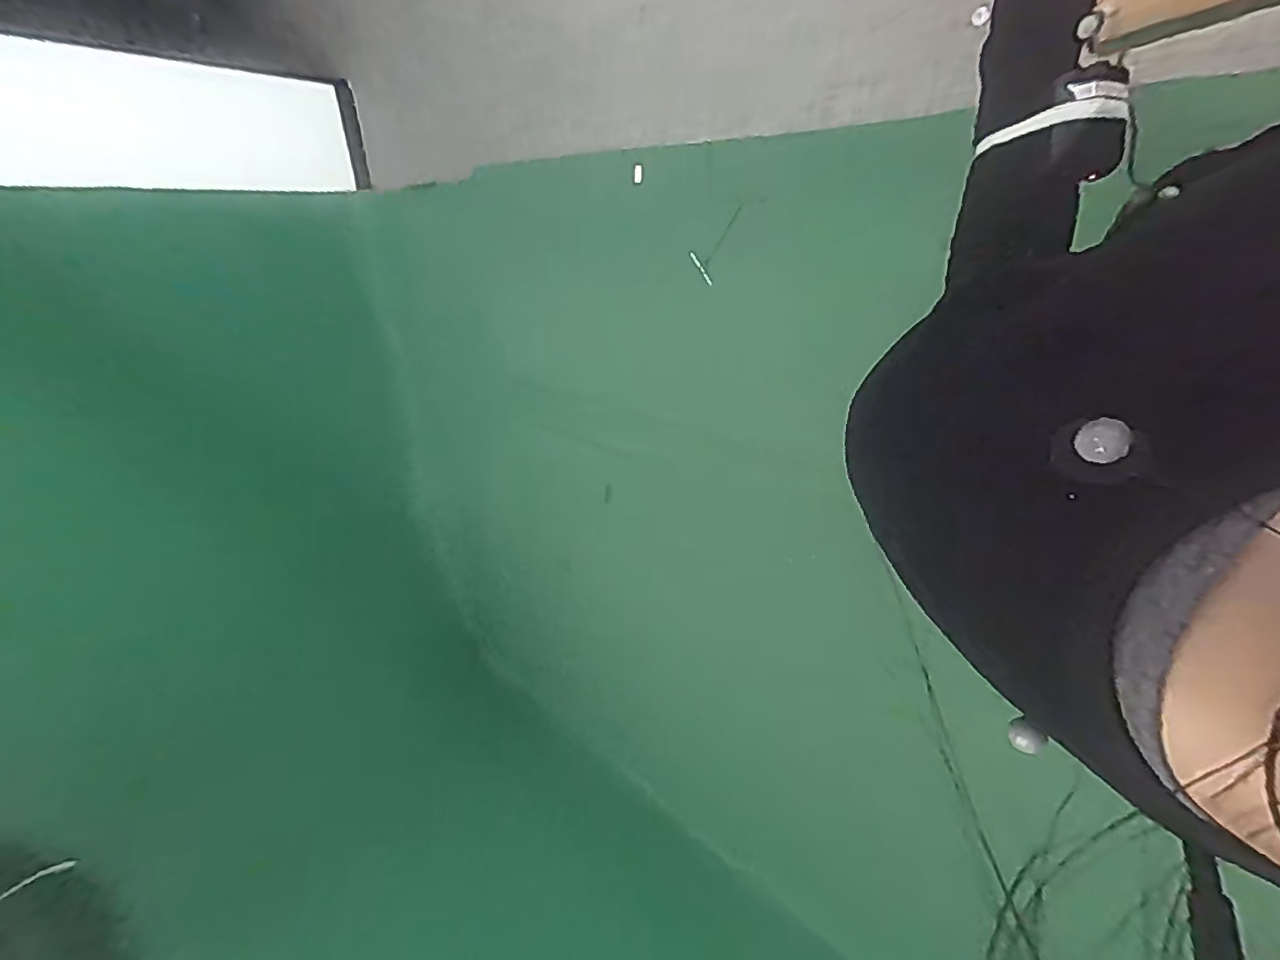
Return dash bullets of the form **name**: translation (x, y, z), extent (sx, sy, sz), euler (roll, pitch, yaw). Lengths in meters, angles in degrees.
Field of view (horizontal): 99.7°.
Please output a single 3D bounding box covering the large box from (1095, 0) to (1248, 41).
- **large box**: translation (0.528, -0.507, 0.296), extent (0.408, 0.320, 0.320), euler (6, 123, 38)
